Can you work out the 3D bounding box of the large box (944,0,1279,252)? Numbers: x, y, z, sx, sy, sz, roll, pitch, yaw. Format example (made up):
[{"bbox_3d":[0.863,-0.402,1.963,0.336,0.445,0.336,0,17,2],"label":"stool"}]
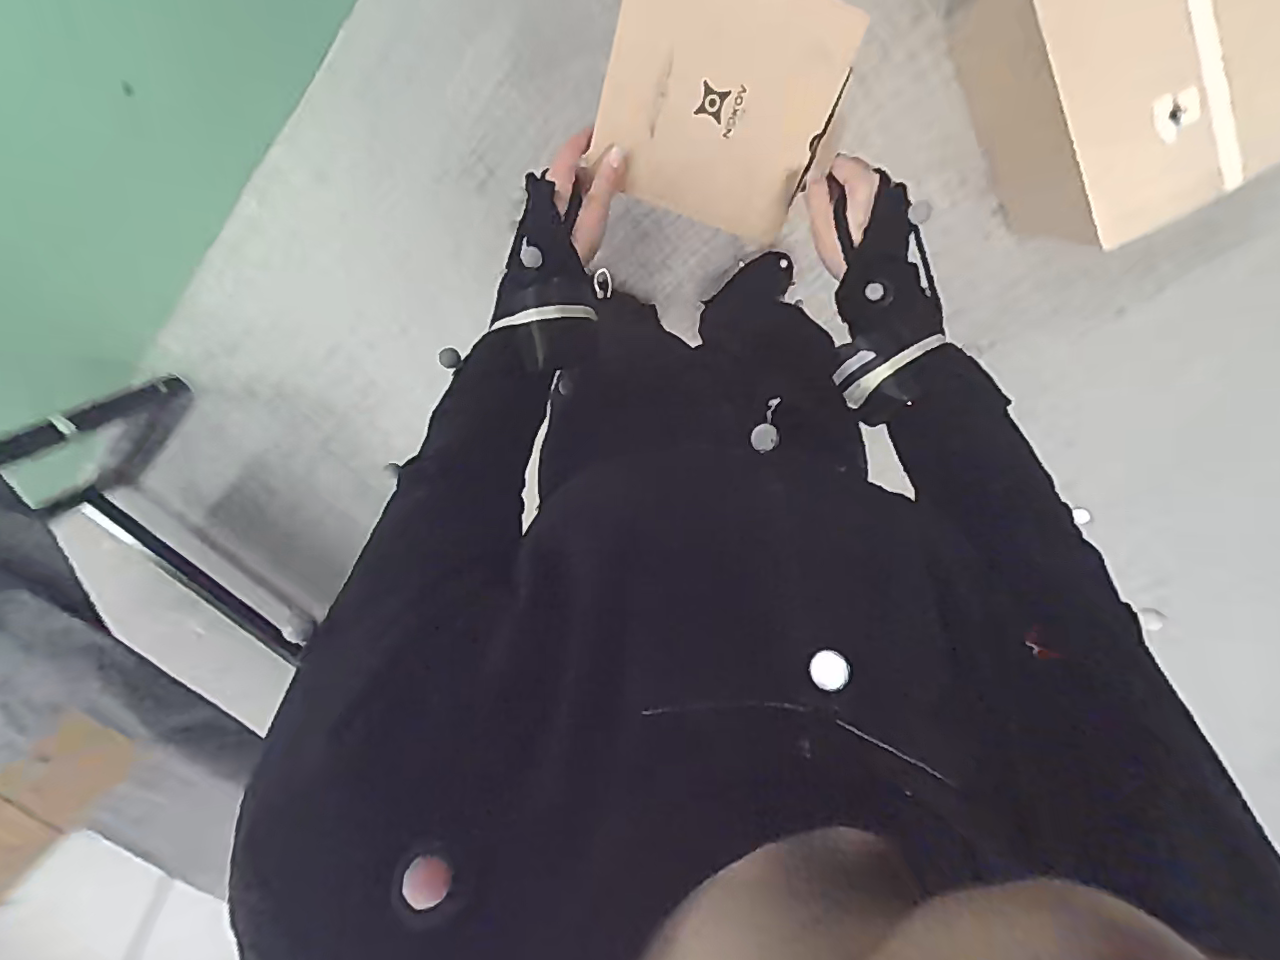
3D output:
[{"bbox_3d":[0.734,-0.629,0.818,0.320,0.320,0.408,-27,113,22],"label":"large box"}]

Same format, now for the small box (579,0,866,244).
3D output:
[{"bbox_3d":[0.059,-0.335,0.475,0.179,0.176,0.168,15,127,-6],"label":"small box"}]

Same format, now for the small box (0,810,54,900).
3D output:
[{"bbox_3d":[-1.184,0.677,0.923,0.168,0.176,0.179,-33,108,25],"label":"small box"}]
